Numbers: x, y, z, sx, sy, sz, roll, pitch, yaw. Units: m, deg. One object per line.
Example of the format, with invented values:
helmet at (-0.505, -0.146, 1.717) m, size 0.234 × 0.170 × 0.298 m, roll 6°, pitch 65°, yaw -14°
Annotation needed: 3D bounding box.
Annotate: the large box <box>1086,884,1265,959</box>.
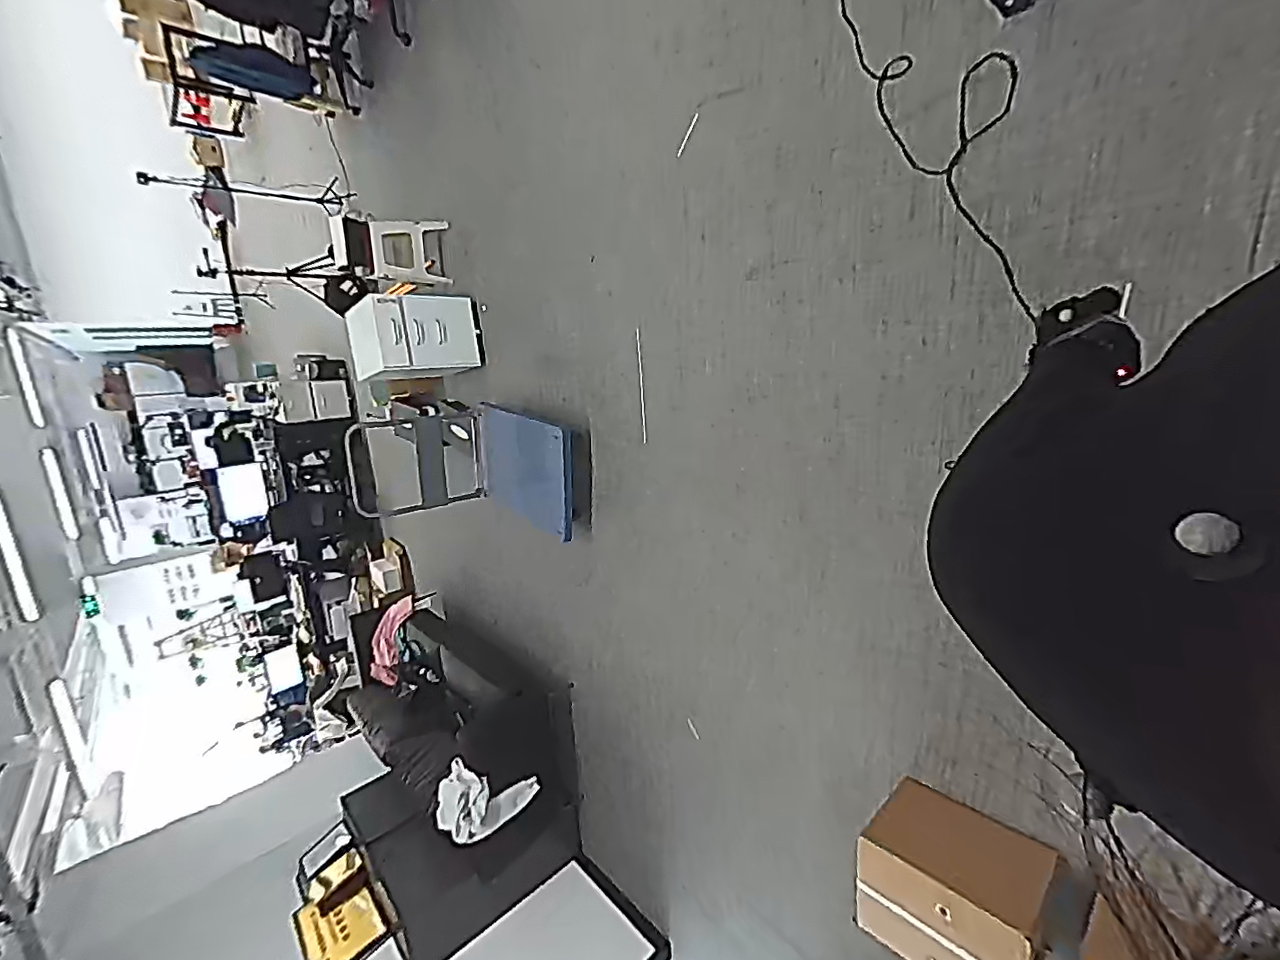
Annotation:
large box at (1.199, 1.196, 1.142) m, size 0.408 × 0.320 × 0.320 m, roll 11°, pitch 109°, yaw 45°
